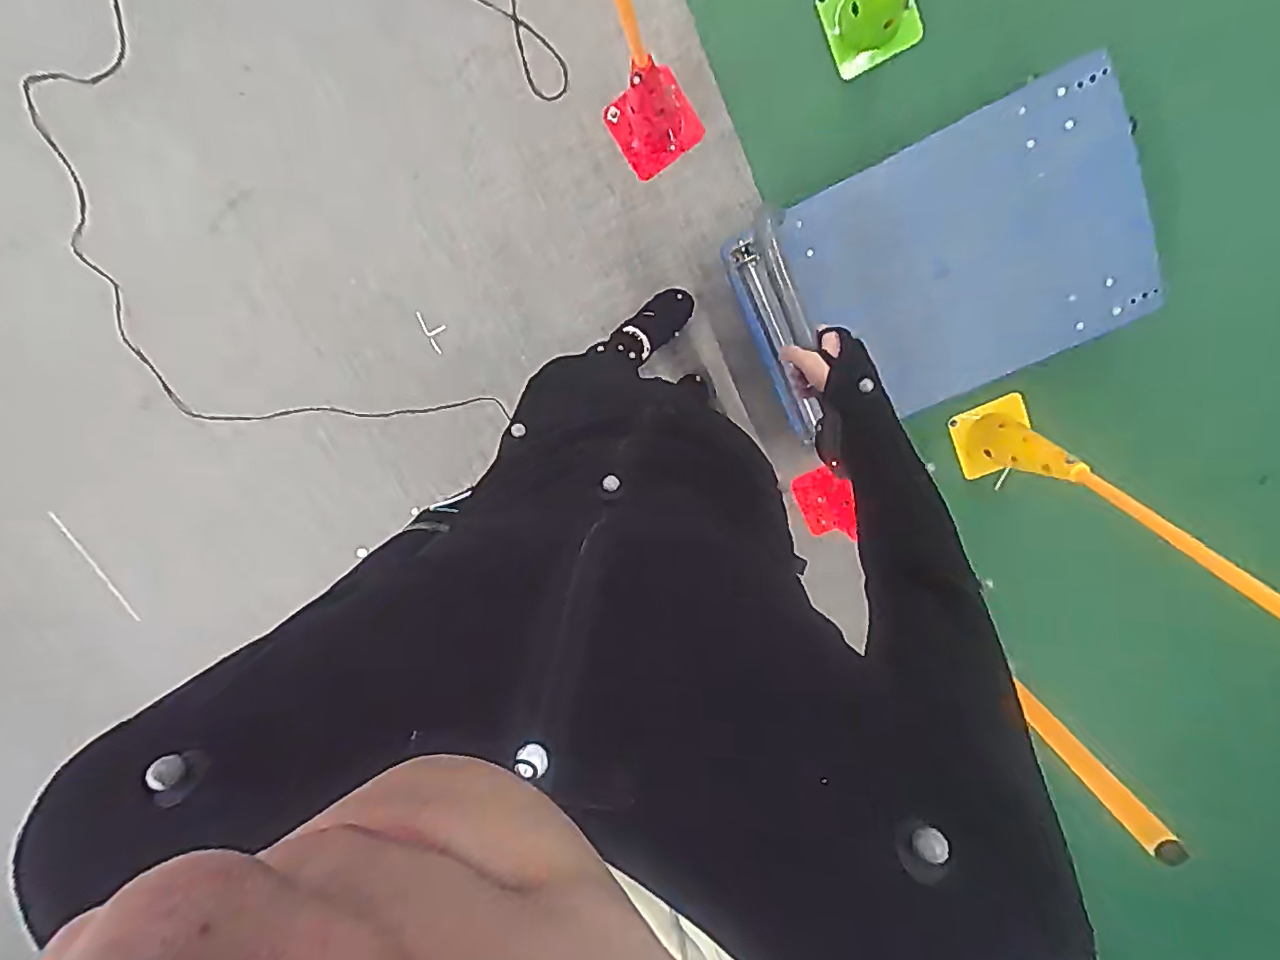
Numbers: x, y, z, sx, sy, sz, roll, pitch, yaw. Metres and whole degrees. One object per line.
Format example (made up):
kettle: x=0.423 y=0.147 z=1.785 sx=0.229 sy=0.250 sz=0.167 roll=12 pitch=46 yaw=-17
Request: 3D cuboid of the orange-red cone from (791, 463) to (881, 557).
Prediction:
orange-red cone: x=0.550 y=0.111 z=1.415 sx=0.199 sy=0.360 sz=0.198 roll=-24 pitch=103 yaw=9

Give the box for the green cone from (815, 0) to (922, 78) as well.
green cone: x=0.517 y=-1.033 z=1.089 sx=0.202 sy=0.368 sz=0.200 roll=-24 pitch=102 yaw=10
